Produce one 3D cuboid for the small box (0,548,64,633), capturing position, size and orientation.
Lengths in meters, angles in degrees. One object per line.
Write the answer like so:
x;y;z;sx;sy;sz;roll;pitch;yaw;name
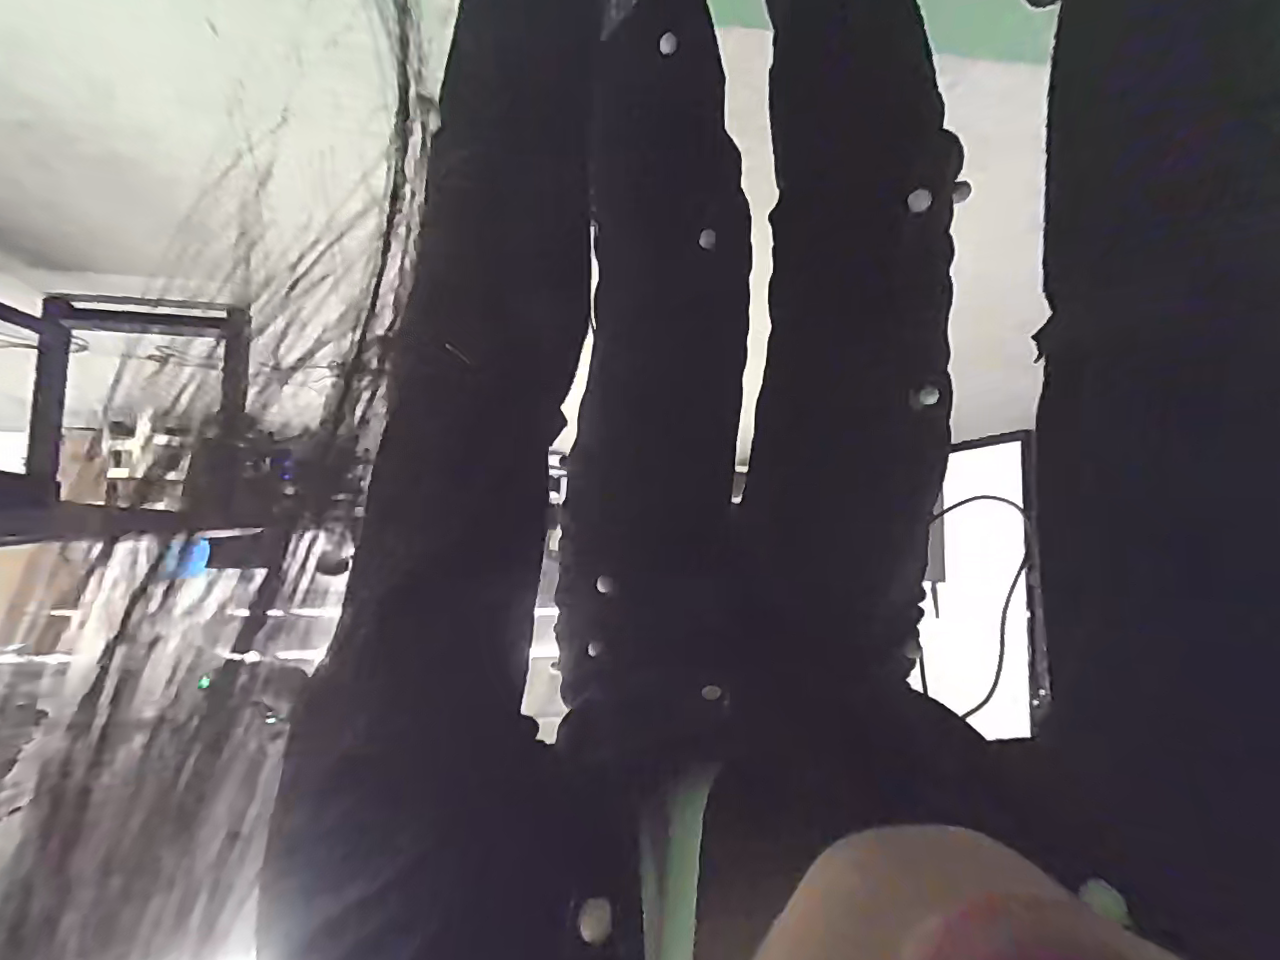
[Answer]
-1.375;0.229;1.131;0.179;0.176;0.168;1;174;-11;small box
